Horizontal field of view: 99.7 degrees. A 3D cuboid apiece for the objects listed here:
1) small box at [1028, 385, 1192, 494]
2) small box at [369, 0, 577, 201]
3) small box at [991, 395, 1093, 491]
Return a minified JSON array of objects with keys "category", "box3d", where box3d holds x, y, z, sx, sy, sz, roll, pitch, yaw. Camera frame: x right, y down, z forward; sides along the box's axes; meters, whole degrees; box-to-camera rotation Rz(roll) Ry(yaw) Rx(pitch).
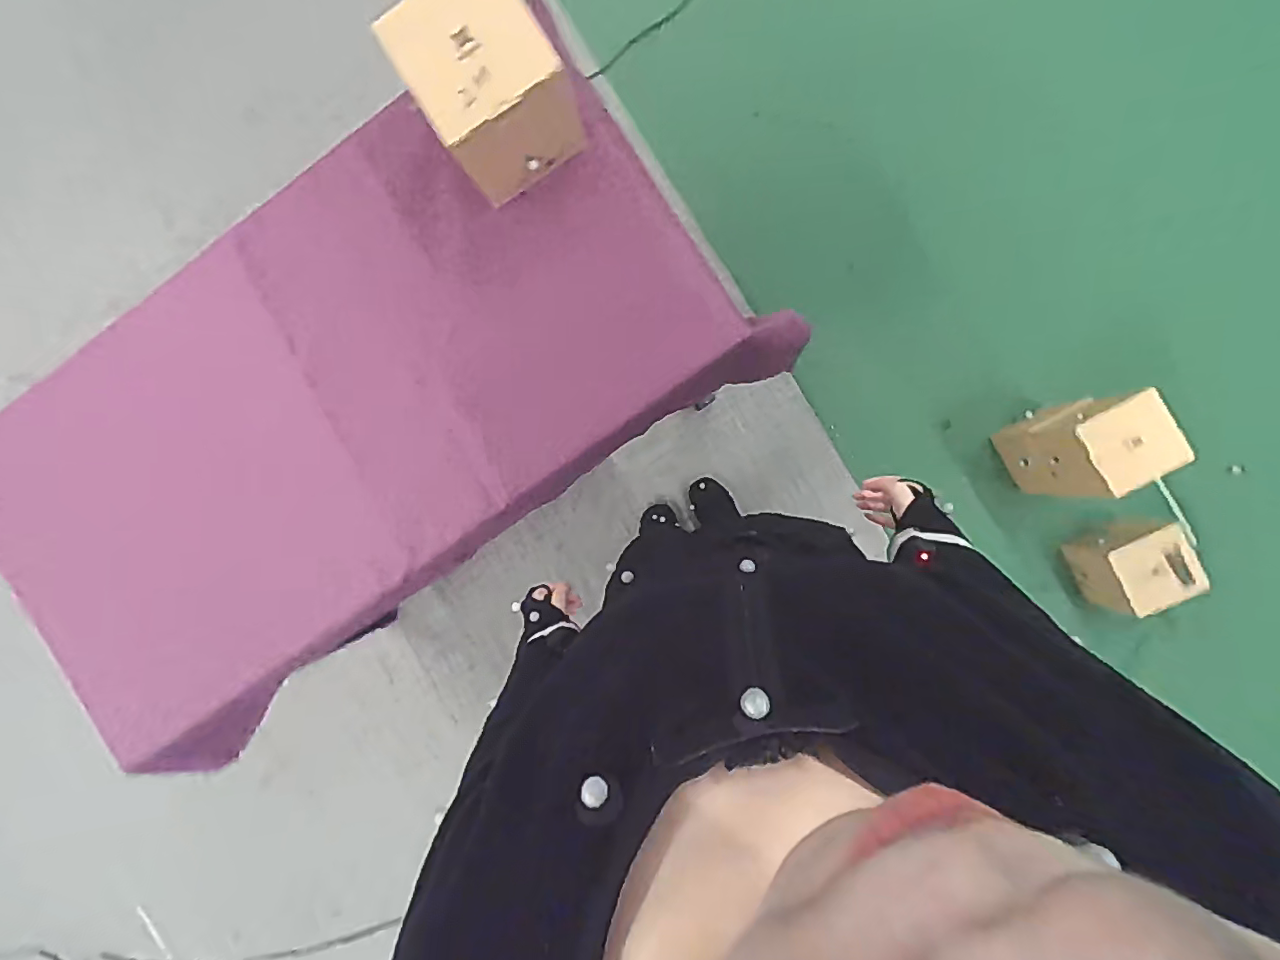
[{"category":"small box","box3d":[1.009,-0.084,1.178,0.179,0.176,0.168,-29,87,5]},{"category":"small box","box3d":[-0.205,-0.516,0.714,0.168,0.176,0.179,-32,91,6]},{"category":"small box","box3d":[1.027,-0.088,1.340,0.168,0.176,0.179,-30,87,5]}]
